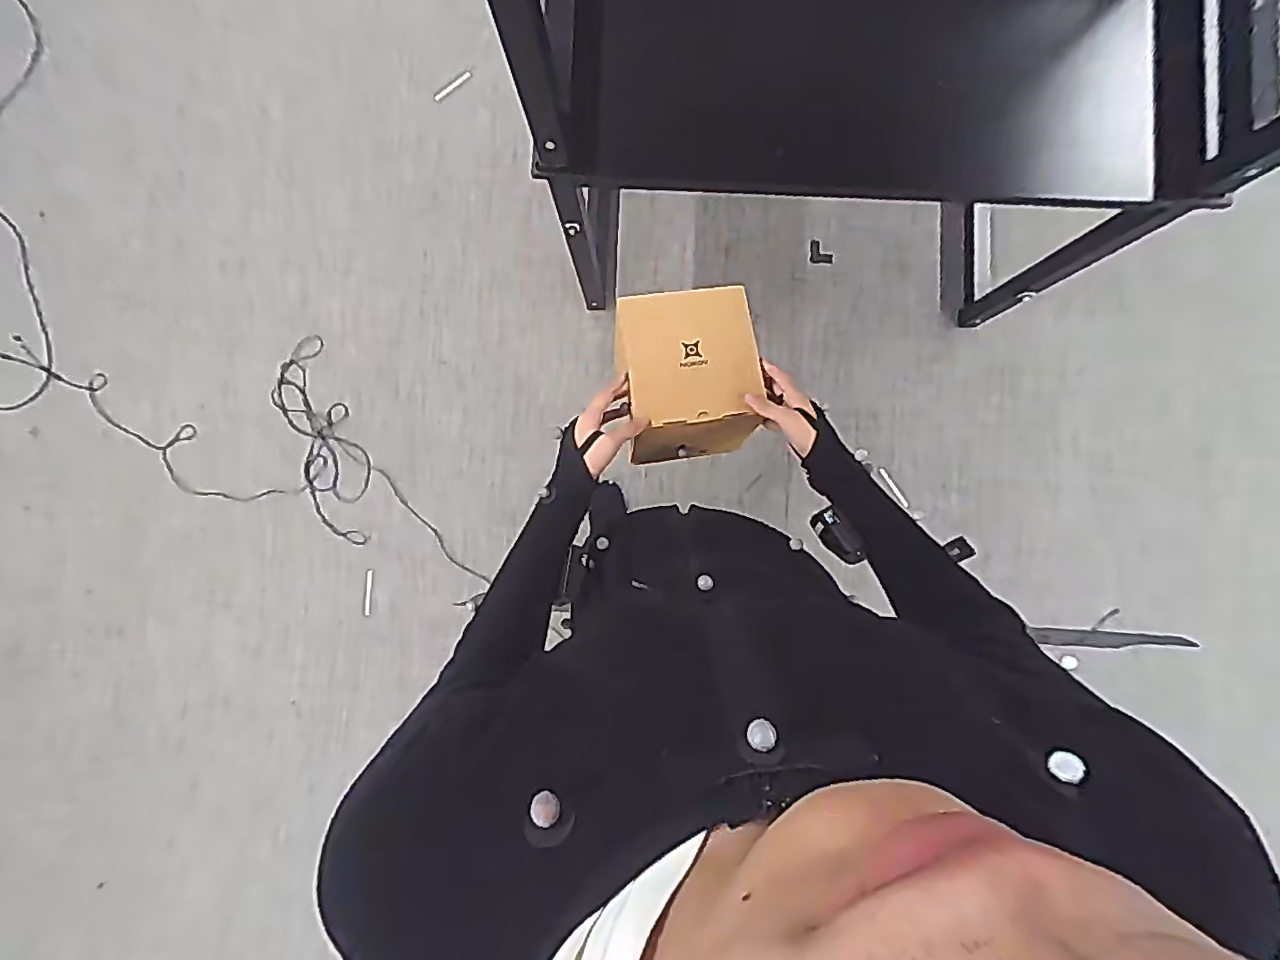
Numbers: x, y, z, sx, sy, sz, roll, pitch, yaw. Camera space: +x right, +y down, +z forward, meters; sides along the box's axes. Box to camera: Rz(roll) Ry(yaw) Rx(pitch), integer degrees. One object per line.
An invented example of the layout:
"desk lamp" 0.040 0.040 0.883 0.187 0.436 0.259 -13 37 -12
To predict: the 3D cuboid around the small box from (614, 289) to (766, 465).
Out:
"small box" 0.056 -0.133 0.741 0.168 0.176 0.179 -8 77 -5
